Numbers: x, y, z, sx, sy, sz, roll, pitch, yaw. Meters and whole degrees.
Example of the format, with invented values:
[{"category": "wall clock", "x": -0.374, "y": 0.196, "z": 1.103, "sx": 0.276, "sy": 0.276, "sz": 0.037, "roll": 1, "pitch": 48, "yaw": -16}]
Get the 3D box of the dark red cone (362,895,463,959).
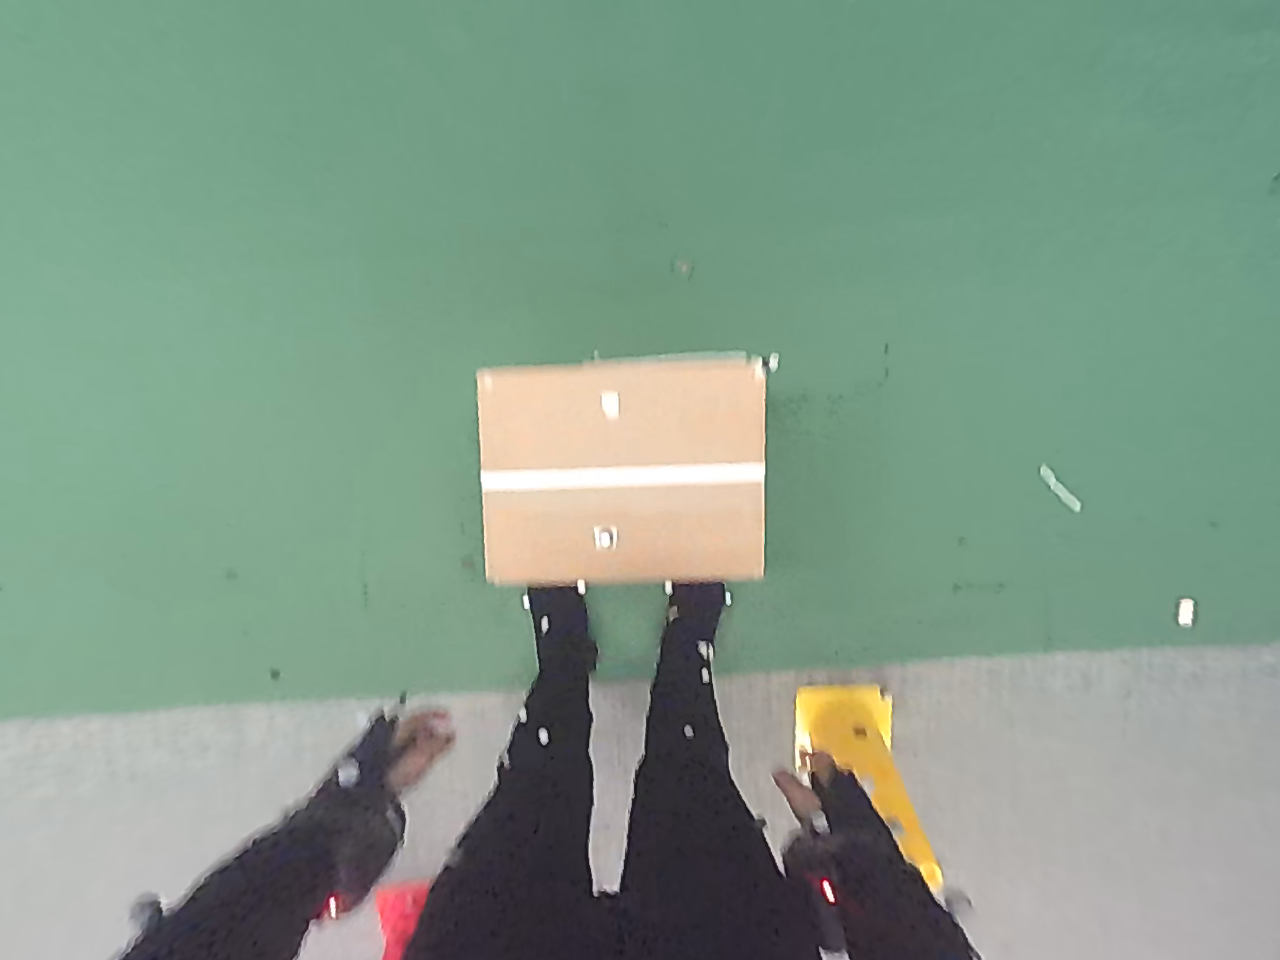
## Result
[{"category": "dark red cone", "x": -0.490, "y": 1.006, "z": 1.001, "sx": 0.202, "sy": 0.394, "sz": 0.201, "roll": -12, "pitch": 94, "yaw": 3}]
